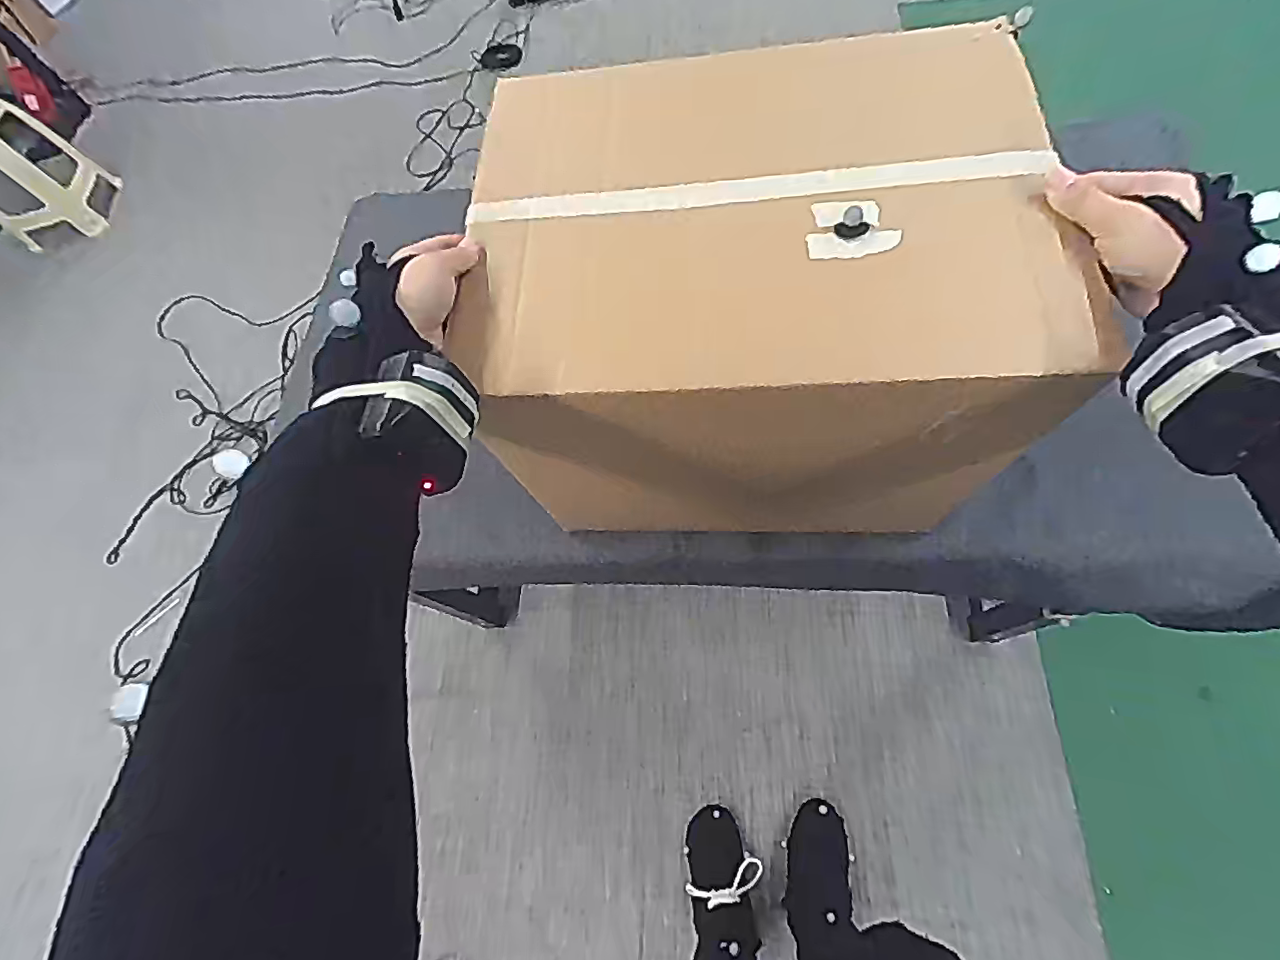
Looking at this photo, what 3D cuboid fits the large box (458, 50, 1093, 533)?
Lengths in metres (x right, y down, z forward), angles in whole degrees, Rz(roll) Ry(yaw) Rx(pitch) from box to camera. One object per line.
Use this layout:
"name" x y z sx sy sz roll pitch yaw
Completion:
"large box" 0.091 -0.142 0.533 0.408 0.320 0.320 -1 68 7
